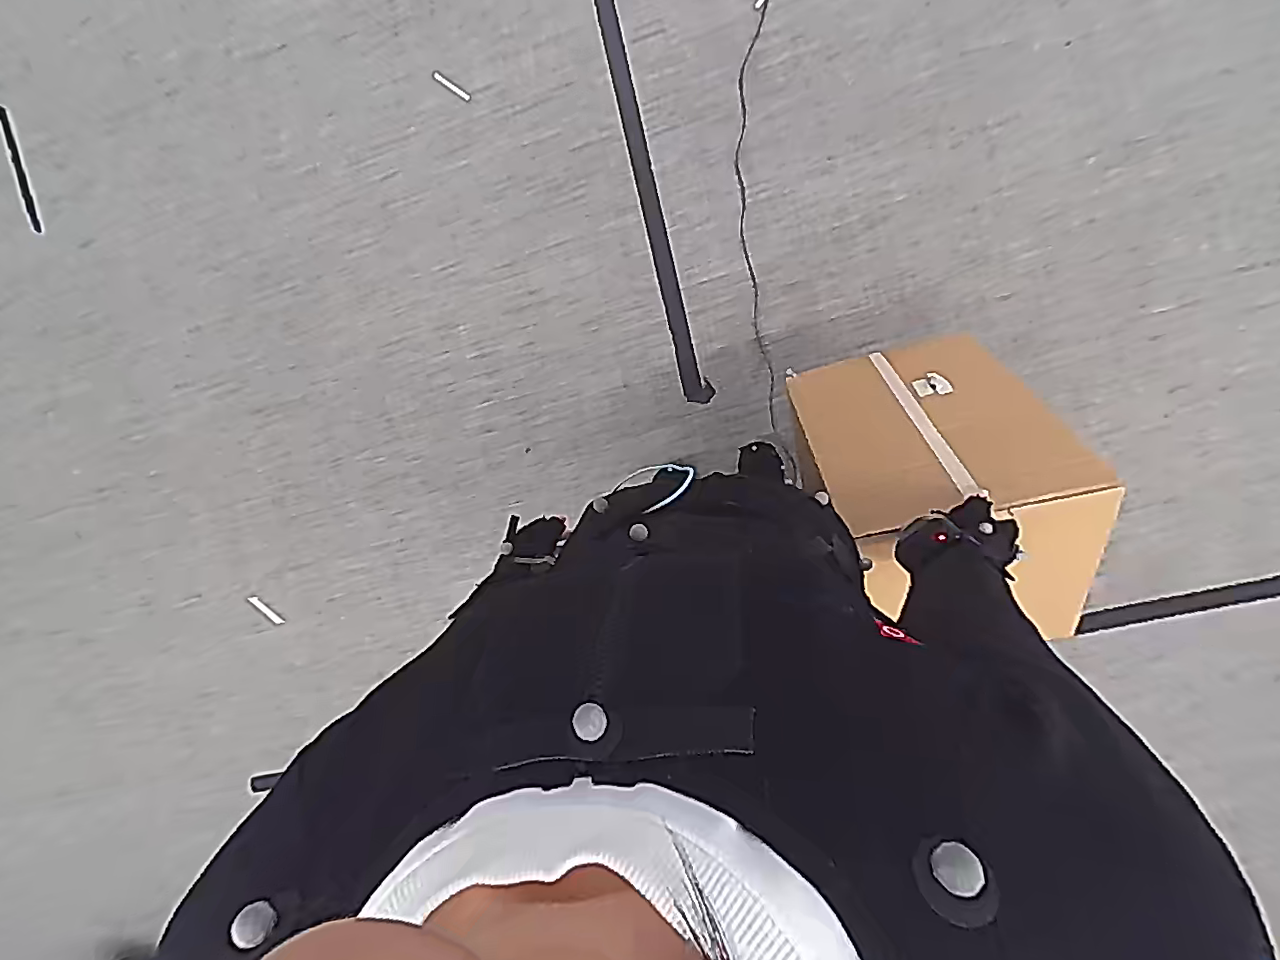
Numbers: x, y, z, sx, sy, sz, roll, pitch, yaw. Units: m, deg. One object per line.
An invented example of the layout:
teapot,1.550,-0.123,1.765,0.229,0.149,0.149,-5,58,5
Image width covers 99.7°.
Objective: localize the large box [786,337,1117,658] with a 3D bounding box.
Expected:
large box,0.459,0.021,0.902,0.320,0.408,0.320,-12,129,10
